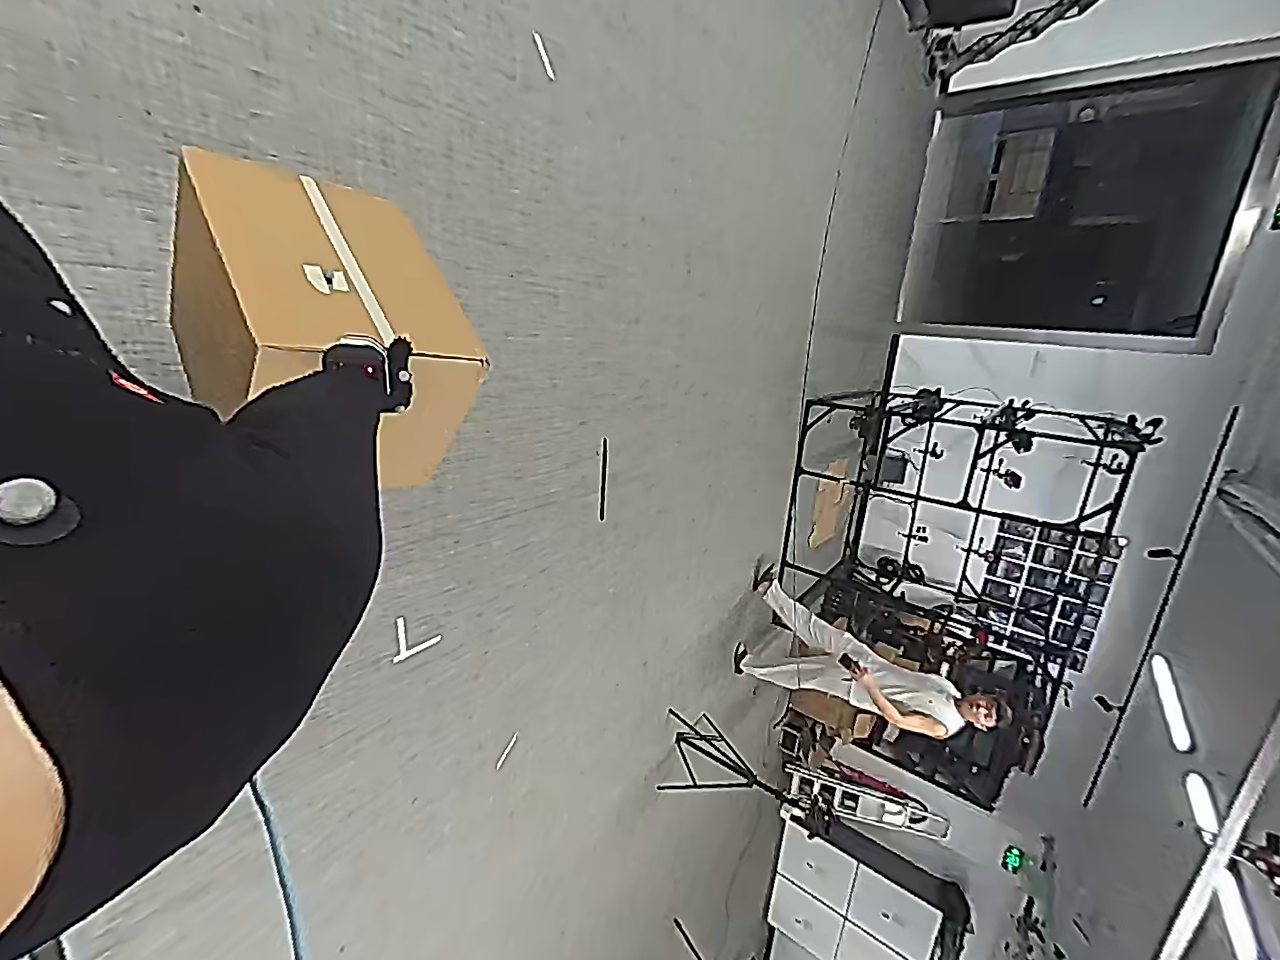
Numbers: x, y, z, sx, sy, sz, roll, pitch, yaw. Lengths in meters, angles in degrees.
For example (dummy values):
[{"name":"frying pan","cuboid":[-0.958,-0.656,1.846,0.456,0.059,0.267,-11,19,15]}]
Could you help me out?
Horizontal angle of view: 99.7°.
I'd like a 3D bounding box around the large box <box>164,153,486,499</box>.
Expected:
[{"name":"large box","cuboid":[-0.529,-0.229,0.892,0.320,0.408,0.320,-10,151,-49]}]
